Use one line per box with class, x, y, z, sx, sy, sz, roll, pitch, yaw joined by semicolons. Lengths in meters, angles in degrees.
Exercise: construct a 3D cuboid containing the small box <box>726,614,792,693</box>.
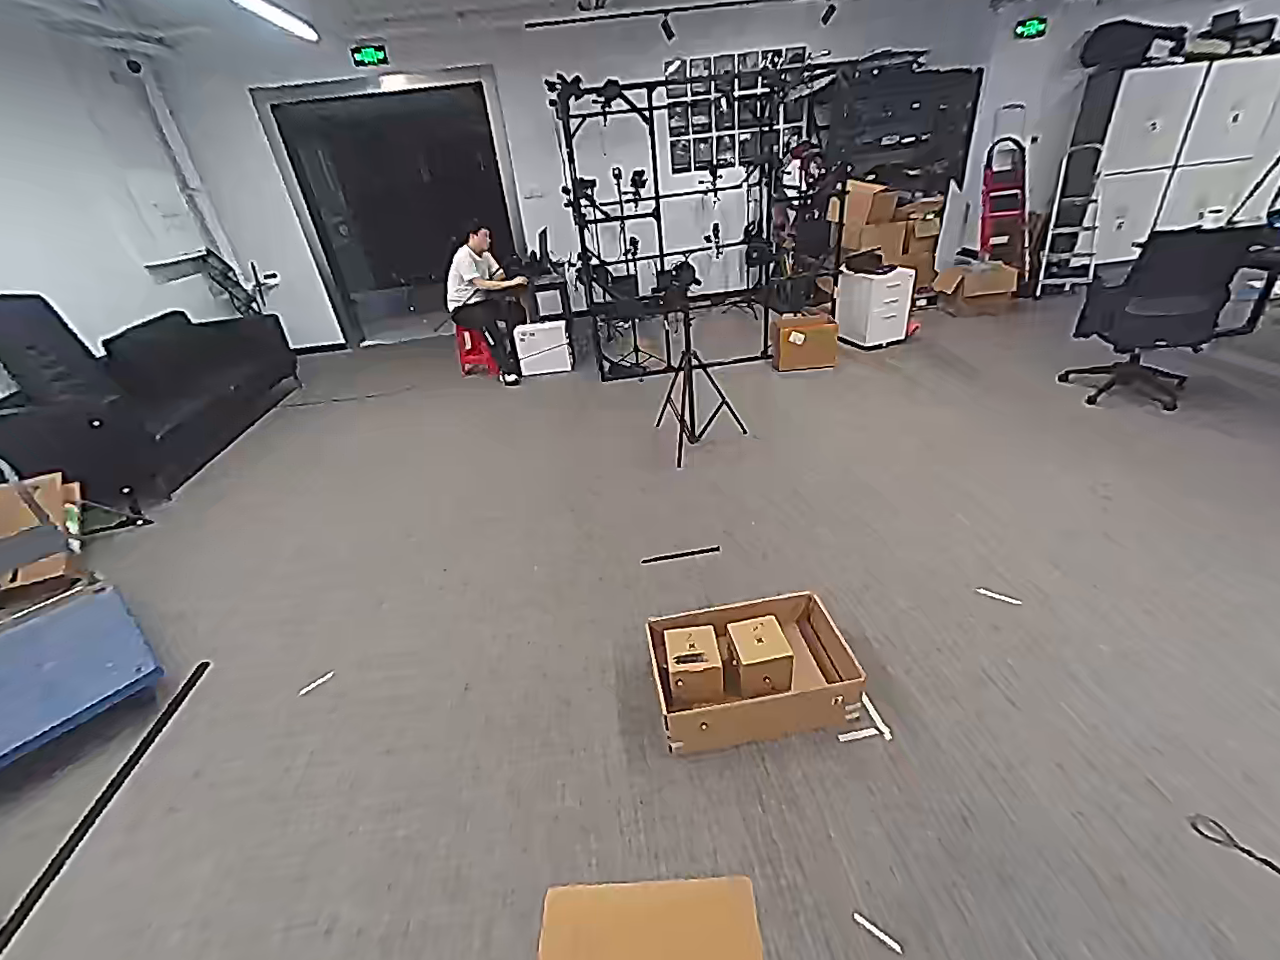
small box;0.389;0.575;1.774;0.168;0.176;0.179;-10;31;-5
